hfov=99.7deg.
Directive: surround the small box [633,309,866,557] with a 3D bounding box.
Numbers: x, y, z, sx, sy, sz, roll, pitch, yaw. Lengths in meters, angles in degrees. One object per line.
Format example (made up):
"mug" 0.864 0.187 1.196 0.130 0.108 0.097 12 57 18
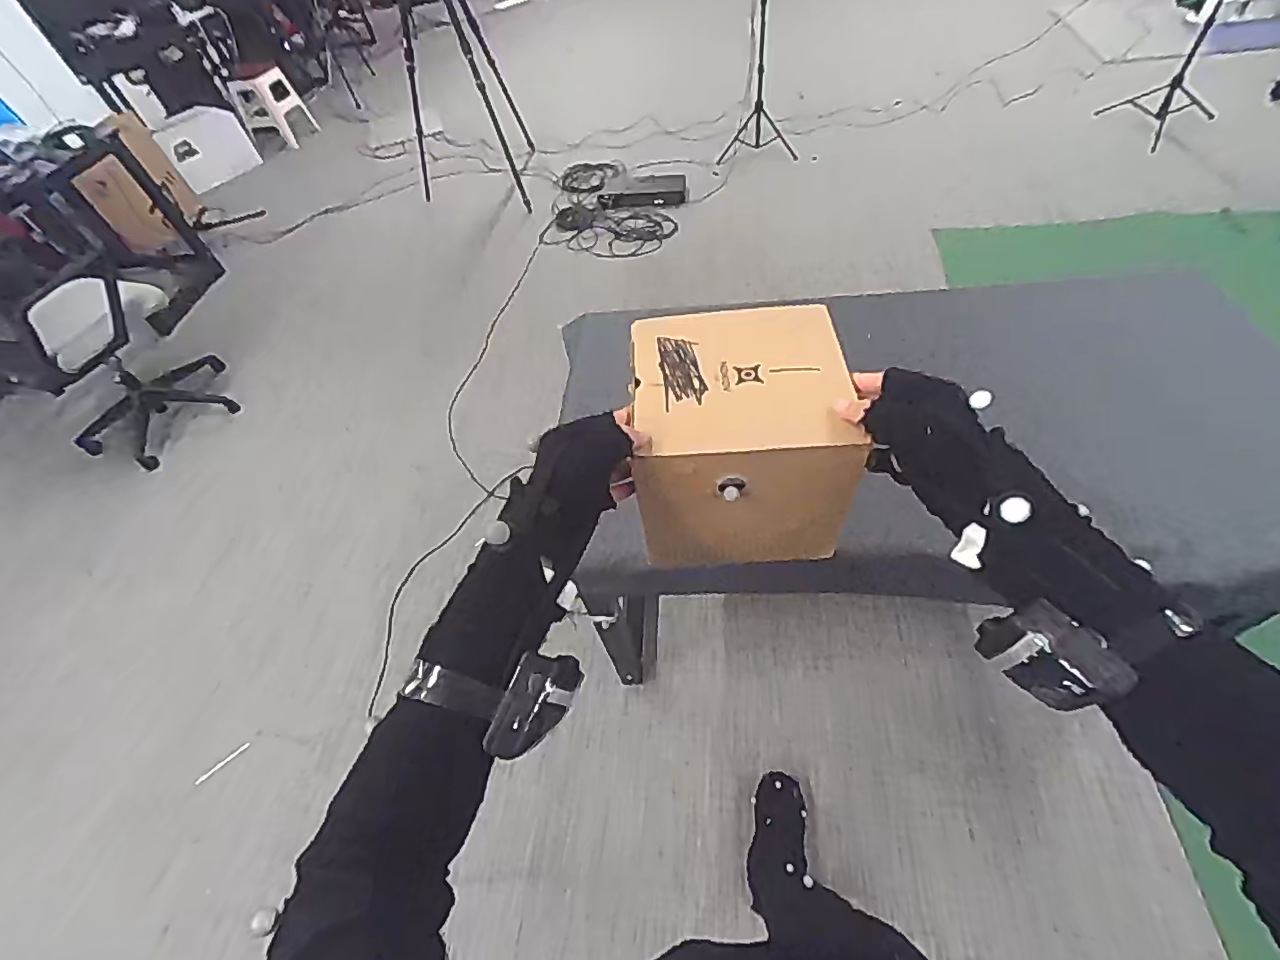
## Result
"small box" 0.090 -0.037 0.512 0.179 0.176 0.168 -3 53 4
